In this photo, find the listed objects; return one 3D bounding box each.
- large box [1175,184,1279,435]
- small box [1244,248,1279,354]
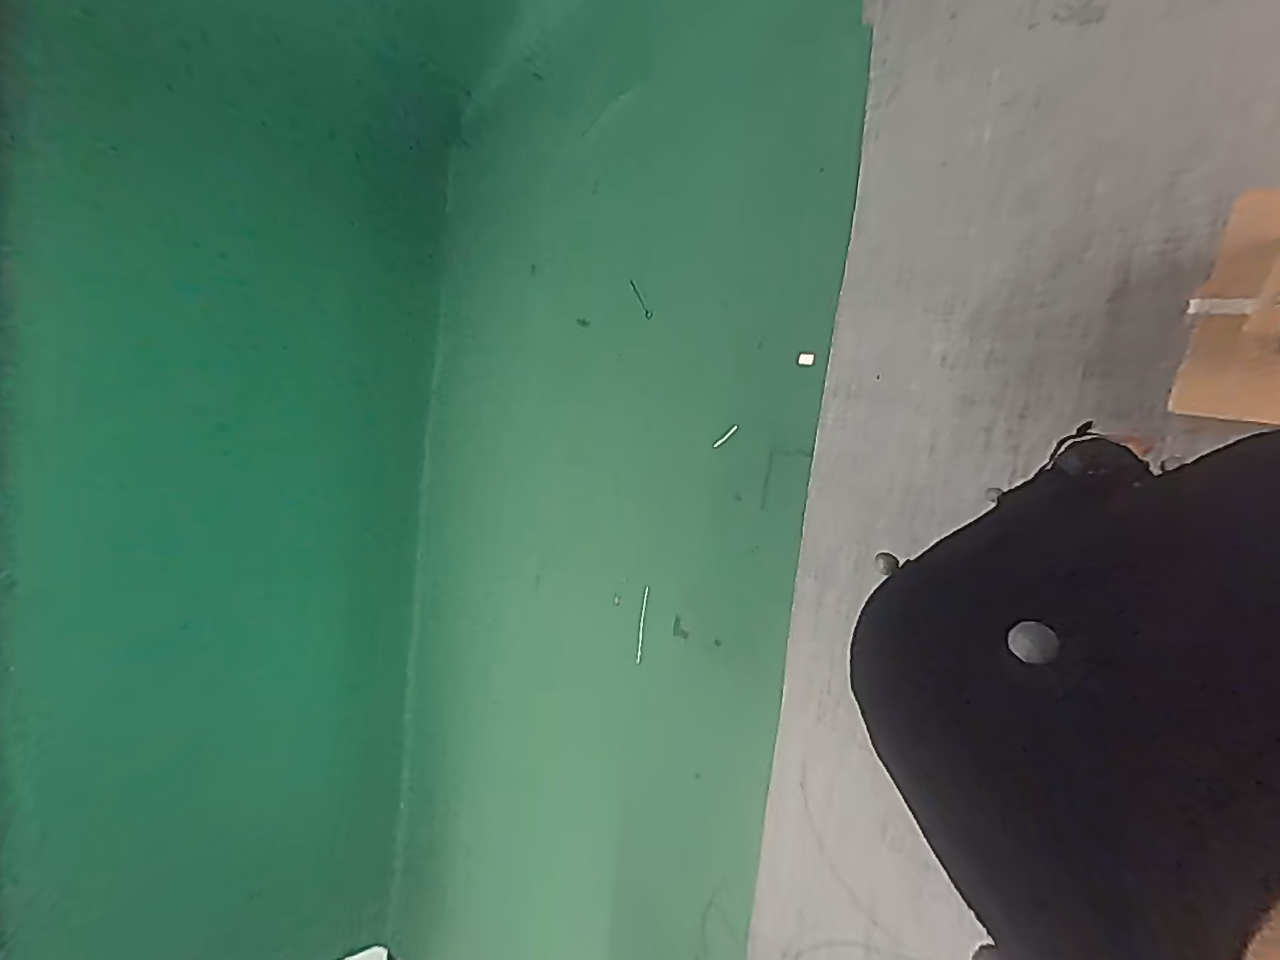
[{"bbox_3d":[1.046,-0.211,0.730,0.408,0.320,0.320,19,104,46],"label":"large box"},{"bbox_3d":[0.836,-0.227,0.603,0.179,0.176,0.168,28,109,45],"label":"small box"}]
